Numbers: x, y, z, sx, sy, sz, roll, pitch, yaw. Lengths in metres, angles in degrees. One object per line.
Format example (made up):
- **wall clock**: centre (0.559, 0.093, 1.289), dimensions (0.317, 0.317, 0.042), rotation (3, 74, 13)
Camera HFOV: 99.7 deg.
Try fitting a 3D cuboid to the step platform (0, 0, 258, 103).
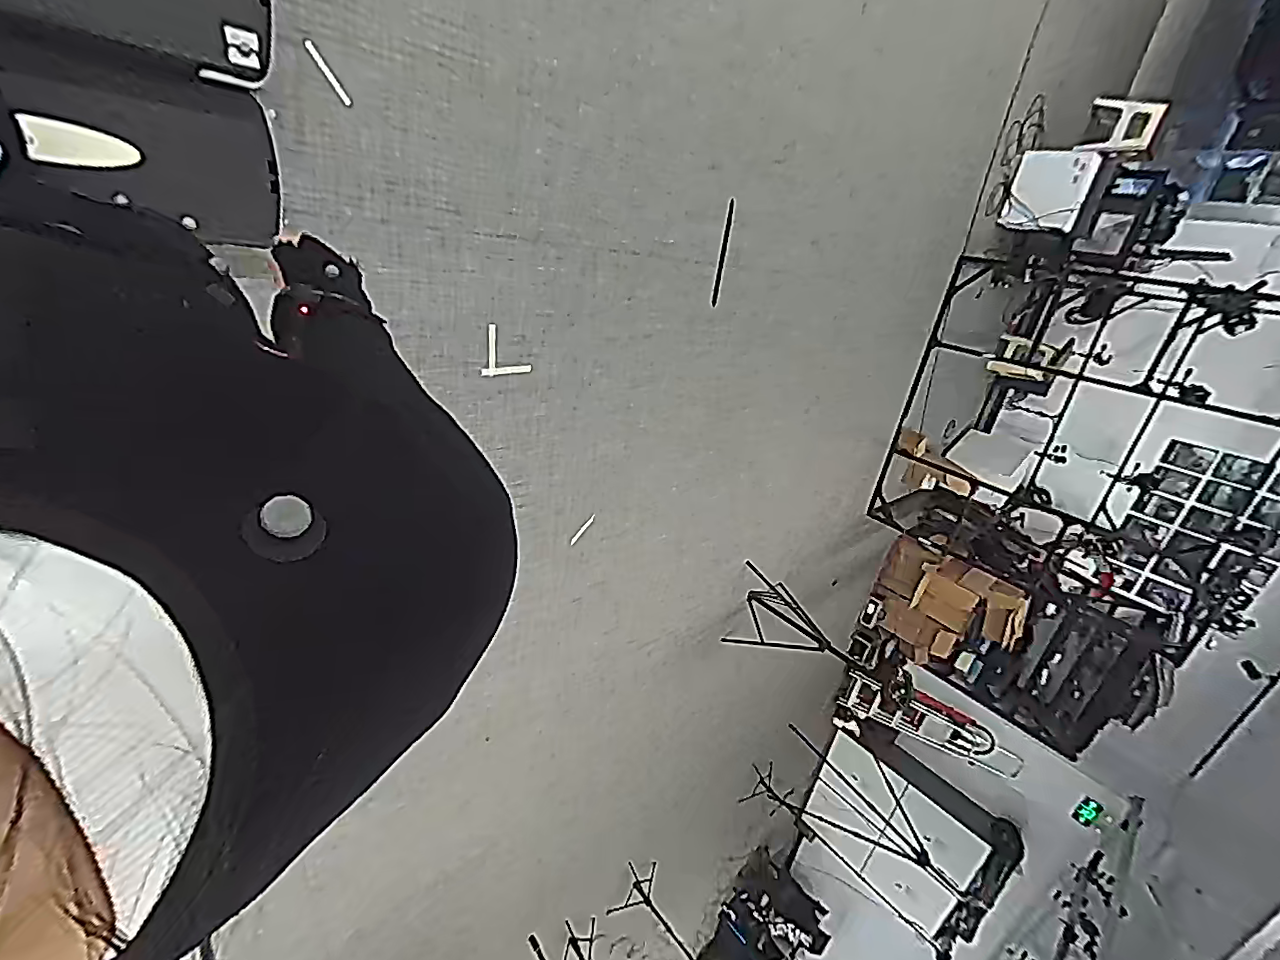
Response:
- **step platform**: centre (-0.950, -0.774, 0.751), dimensions (0.684, 0.204, 0.286), rotation (-15, 124, -41)
